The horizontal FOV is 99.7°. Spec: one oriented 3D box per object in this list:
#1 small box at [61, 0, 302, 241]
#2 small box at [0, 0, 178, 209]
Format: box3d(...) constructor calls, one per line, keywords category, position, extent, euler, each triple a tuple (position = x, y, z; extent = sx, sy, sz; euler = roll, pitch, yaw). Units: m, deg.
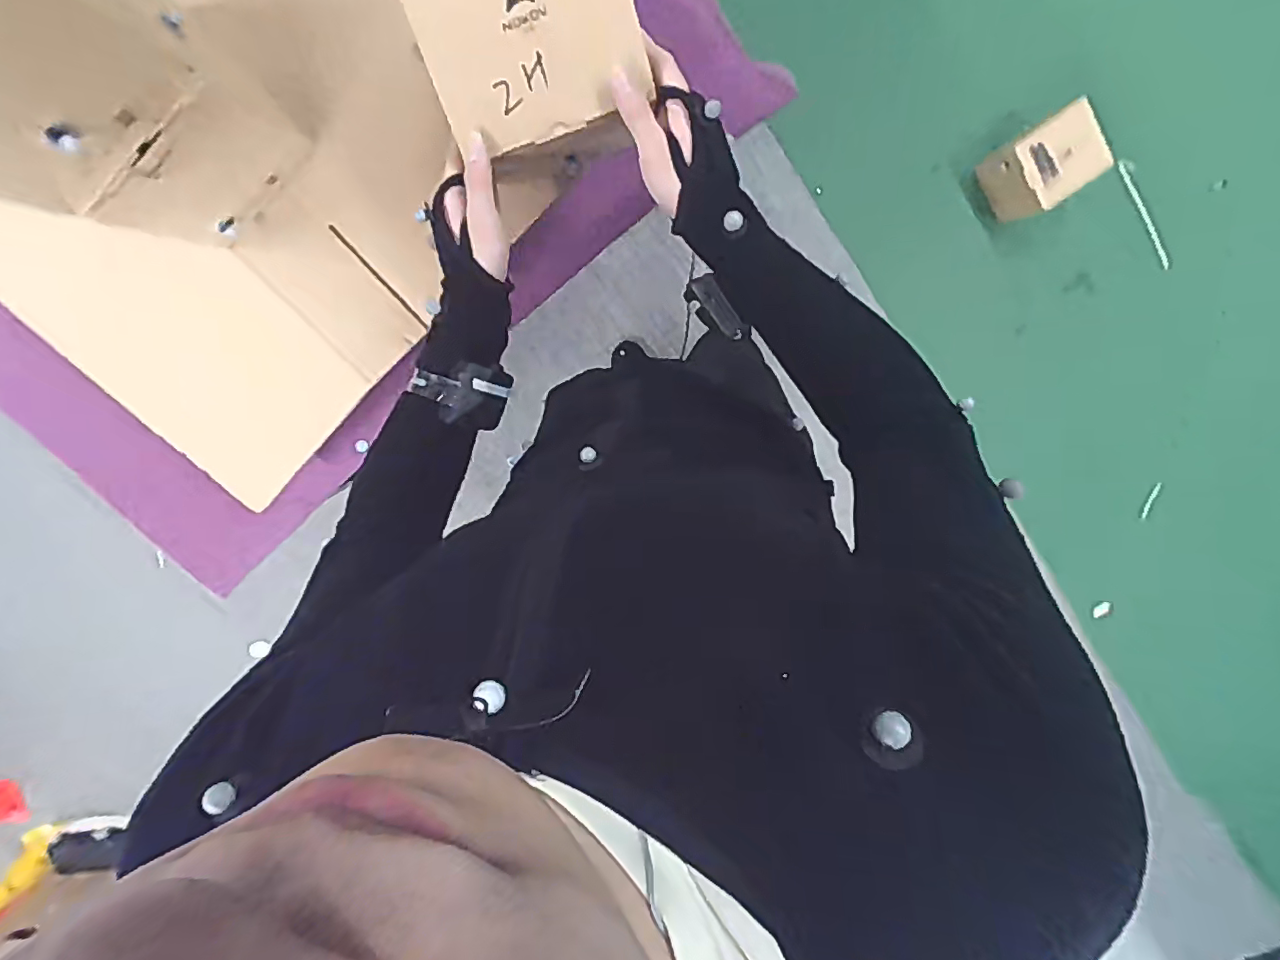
box3d(category="small box", position=(-0.476, -0.353, 0.512), extent=(0.168, 0.176, 0.179), euler=(-41, 101, 9))
box3d(category="small box", position=(-0.480, -0.315, 0.354), extent=(0.168, 0.176, 0.179), euler=(-42, 103, 9))
